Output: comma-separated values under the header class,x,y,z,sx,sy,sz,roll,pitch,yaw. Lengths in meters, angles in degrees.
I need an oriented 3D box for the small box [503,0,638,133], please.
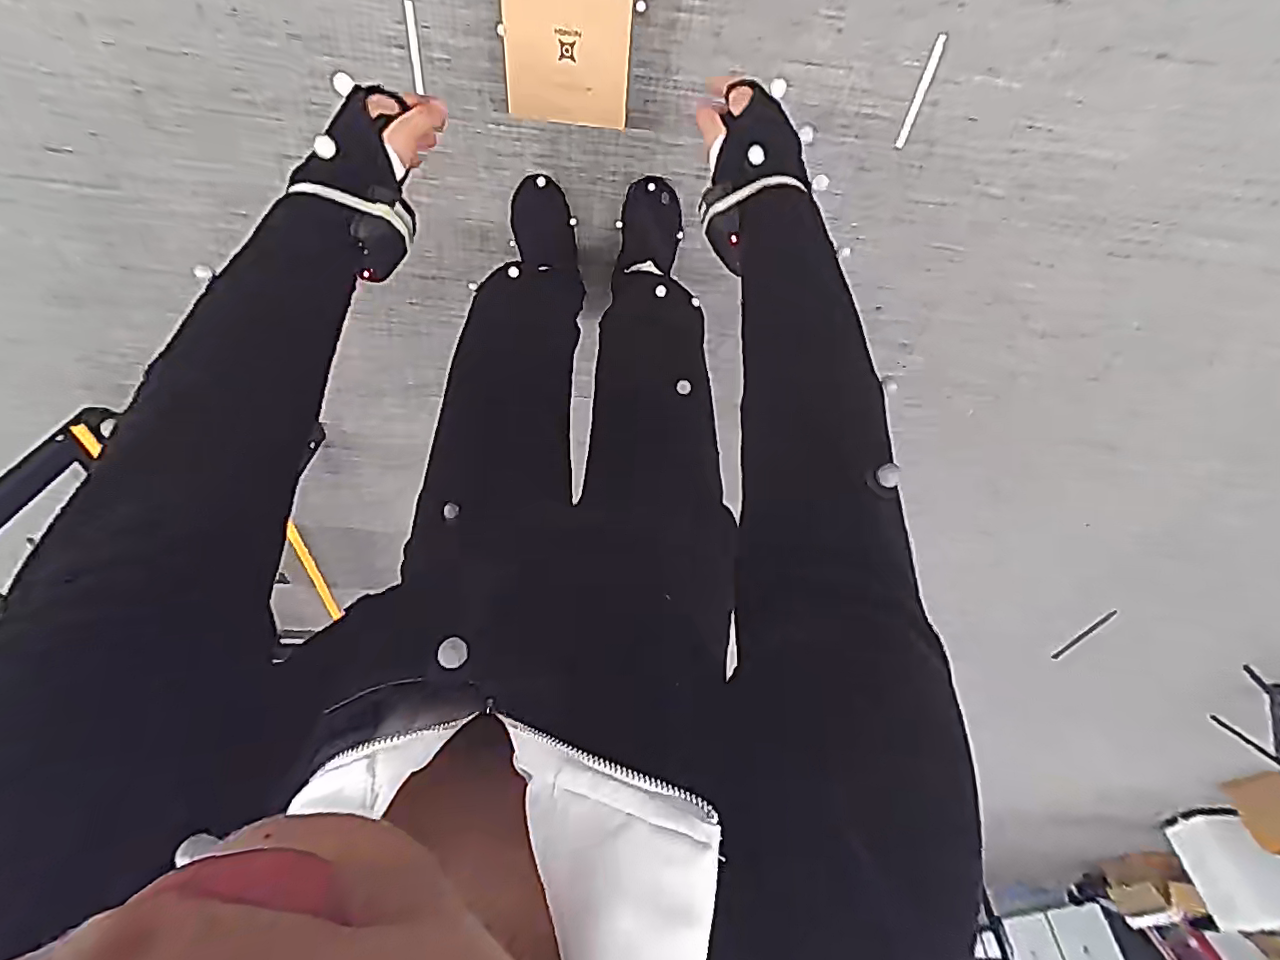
class,x,y,z,sx,sy,sz,roll,pitch,yaw
small box,-0.092,-0.615,0.756,0.168,0.176,0.179,5,136,-2
